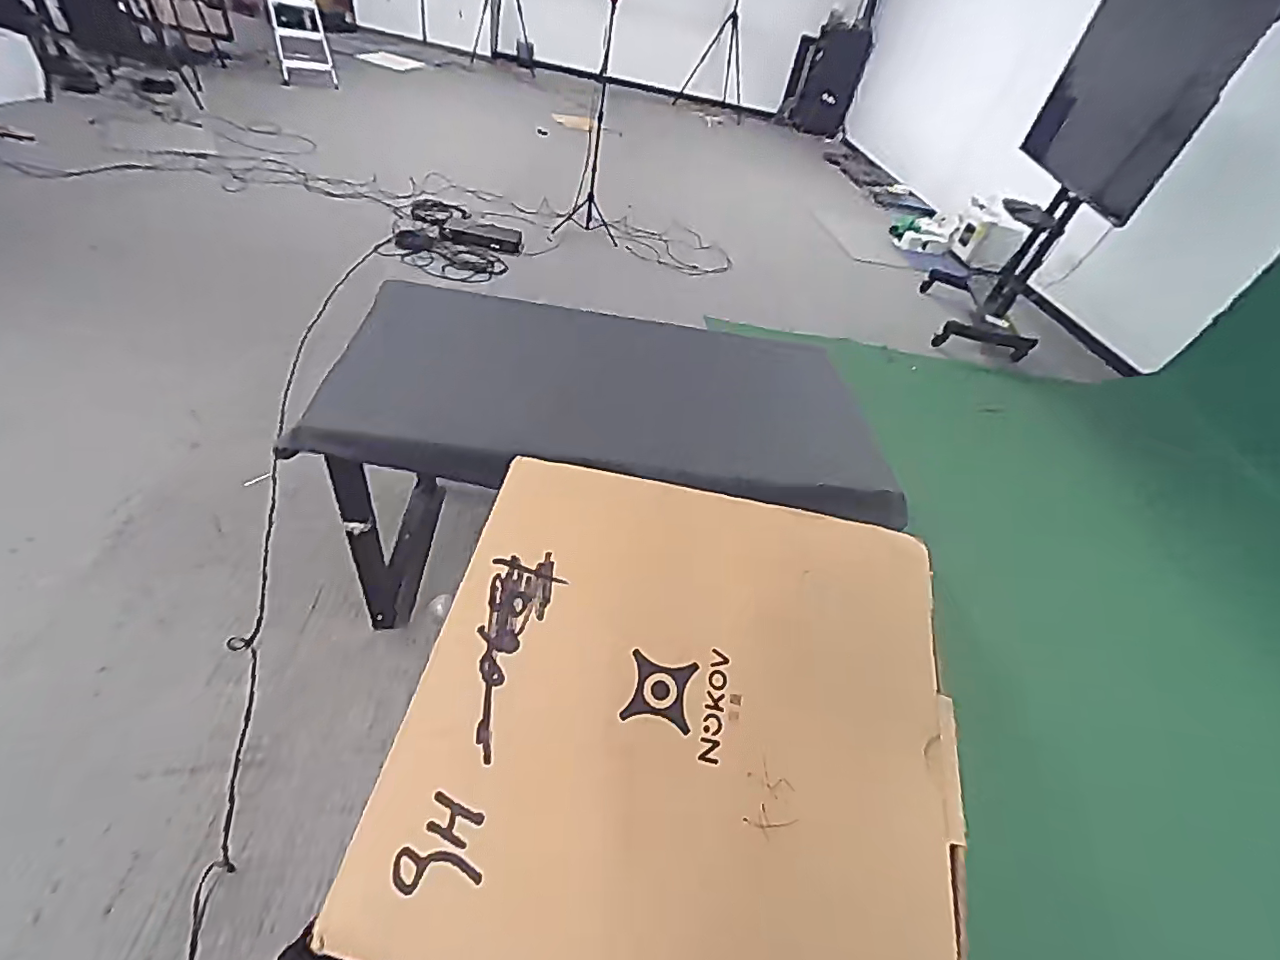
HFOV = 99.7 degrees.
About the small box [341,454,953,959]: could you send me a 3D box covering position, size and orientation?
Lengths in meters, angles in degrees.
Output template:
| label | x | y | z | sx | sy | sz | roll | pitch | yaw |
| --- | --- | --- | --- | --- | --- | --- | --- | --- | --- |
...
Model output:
| label | x | y | z | sx | sy | sz | roll | pitch | yaw |
| --- | --- | --- | --- | --- | --- | --- | --- | --- | --- |
| small box | 0.010 | 0.116 | 0.256 | 0.179 | 0.176 | 0.168 | 12 | 55 | 3 |
